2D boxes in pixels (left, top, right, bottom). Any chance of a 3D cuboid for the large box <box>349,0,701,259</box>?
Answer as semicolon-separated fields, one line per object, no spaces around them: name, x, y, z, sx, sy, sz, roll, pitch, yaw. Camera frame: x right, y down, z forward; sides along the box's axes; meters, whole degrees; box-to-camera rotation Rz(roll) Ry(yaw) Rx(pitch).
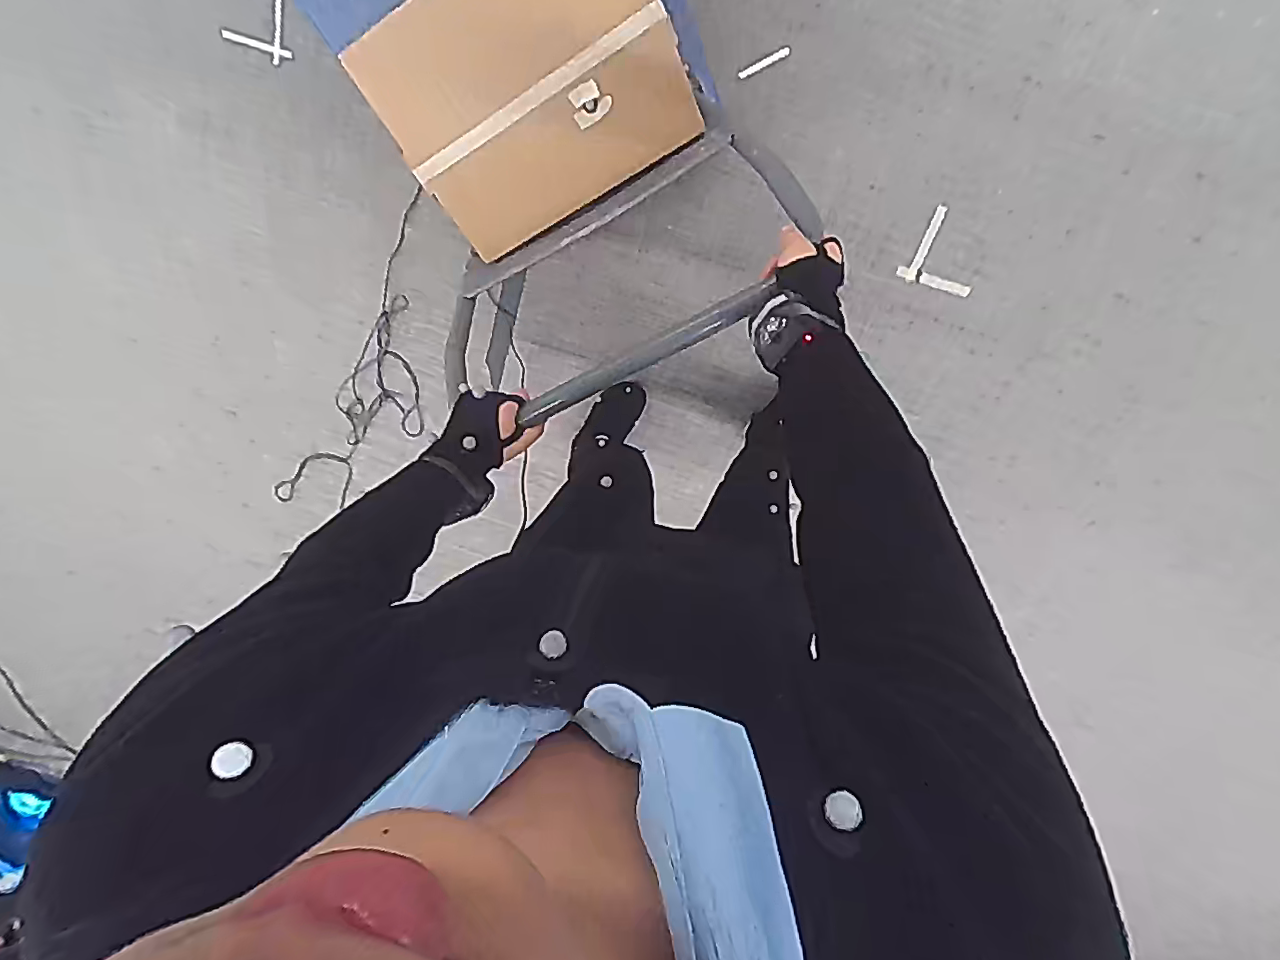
large box;-0.167;-0.642;0.878;0.408;0.320;0.320;-26;129;14
